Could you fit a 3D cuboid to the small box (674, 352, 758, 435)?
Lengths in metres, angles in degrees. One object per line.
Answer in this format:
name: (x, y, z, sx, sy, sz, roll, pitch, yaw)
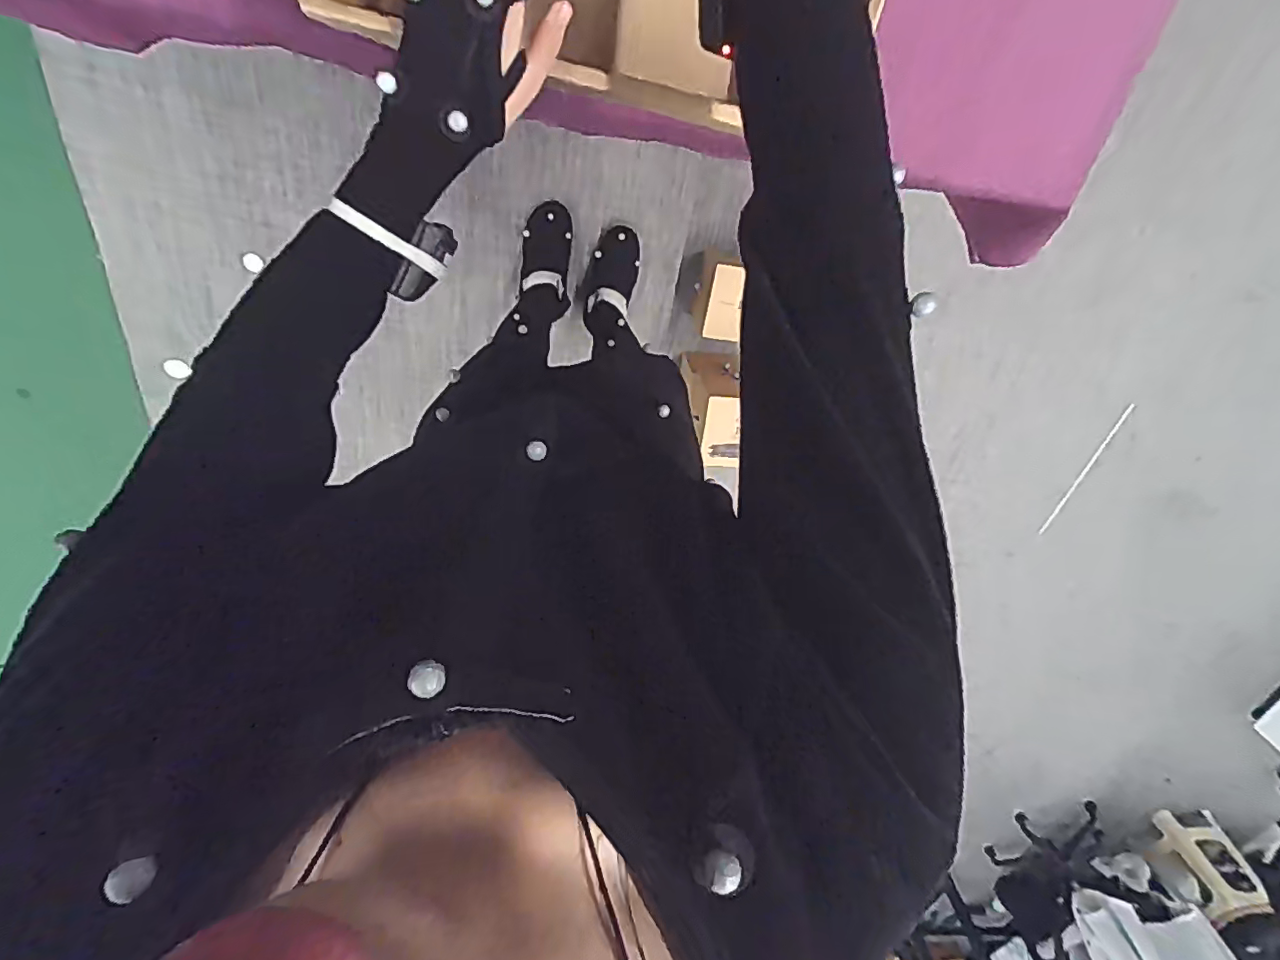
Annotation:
small box: (0.191, -0.232, 1.428, 0.179, 0.176, 0.168, 3, 121, -7)
